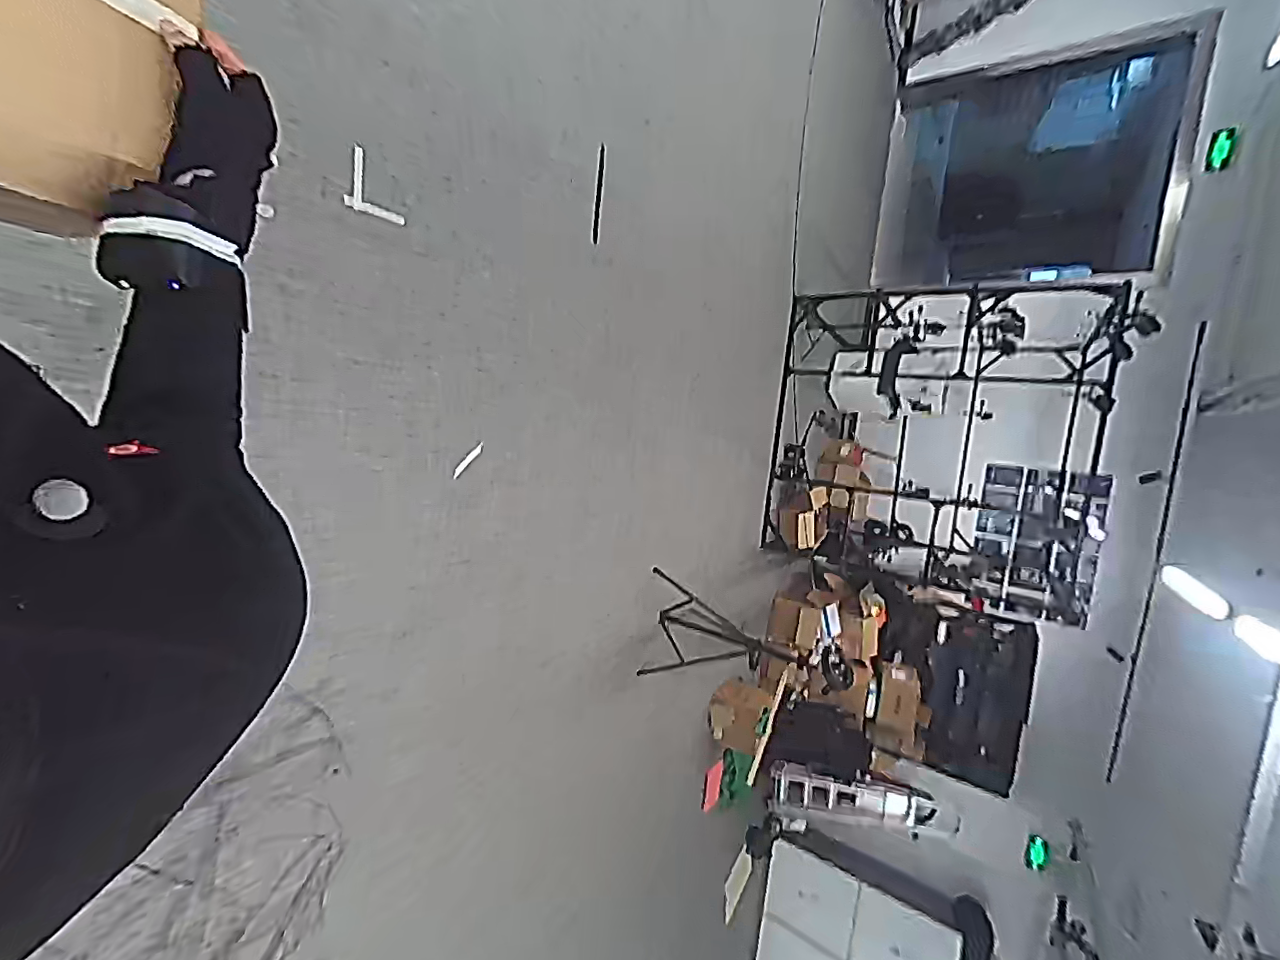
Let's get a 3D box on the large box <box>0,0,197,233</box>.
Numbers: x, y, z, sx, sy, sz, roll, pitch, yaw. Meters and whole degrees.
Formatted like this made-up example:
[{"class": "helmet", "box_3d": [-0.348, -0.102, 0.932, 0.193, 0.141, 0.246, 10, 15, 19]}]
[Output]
[{"class": "large box", "box_3d": [-0.593, -0.395, 0.345, 0.408, 0.320, 0.320, 5, 101, -59]}]
